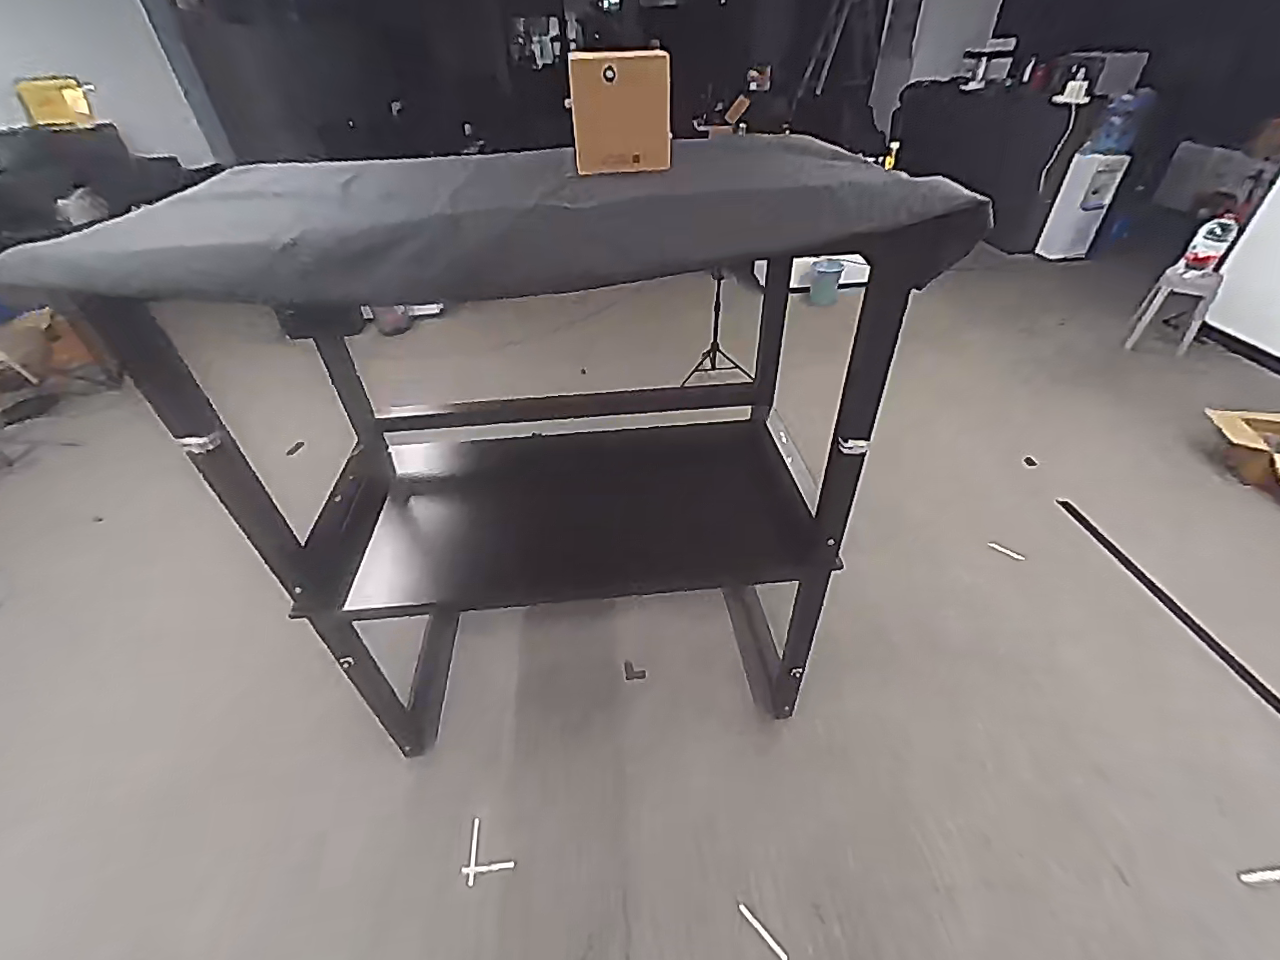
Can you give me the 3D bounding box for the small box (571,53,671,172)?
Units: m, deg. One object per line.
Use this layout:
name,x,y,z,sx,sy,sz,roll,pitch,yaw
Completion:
small box,-0.036,-0.672,0.990,0.168,0.176,0.179,-5,39,-3
